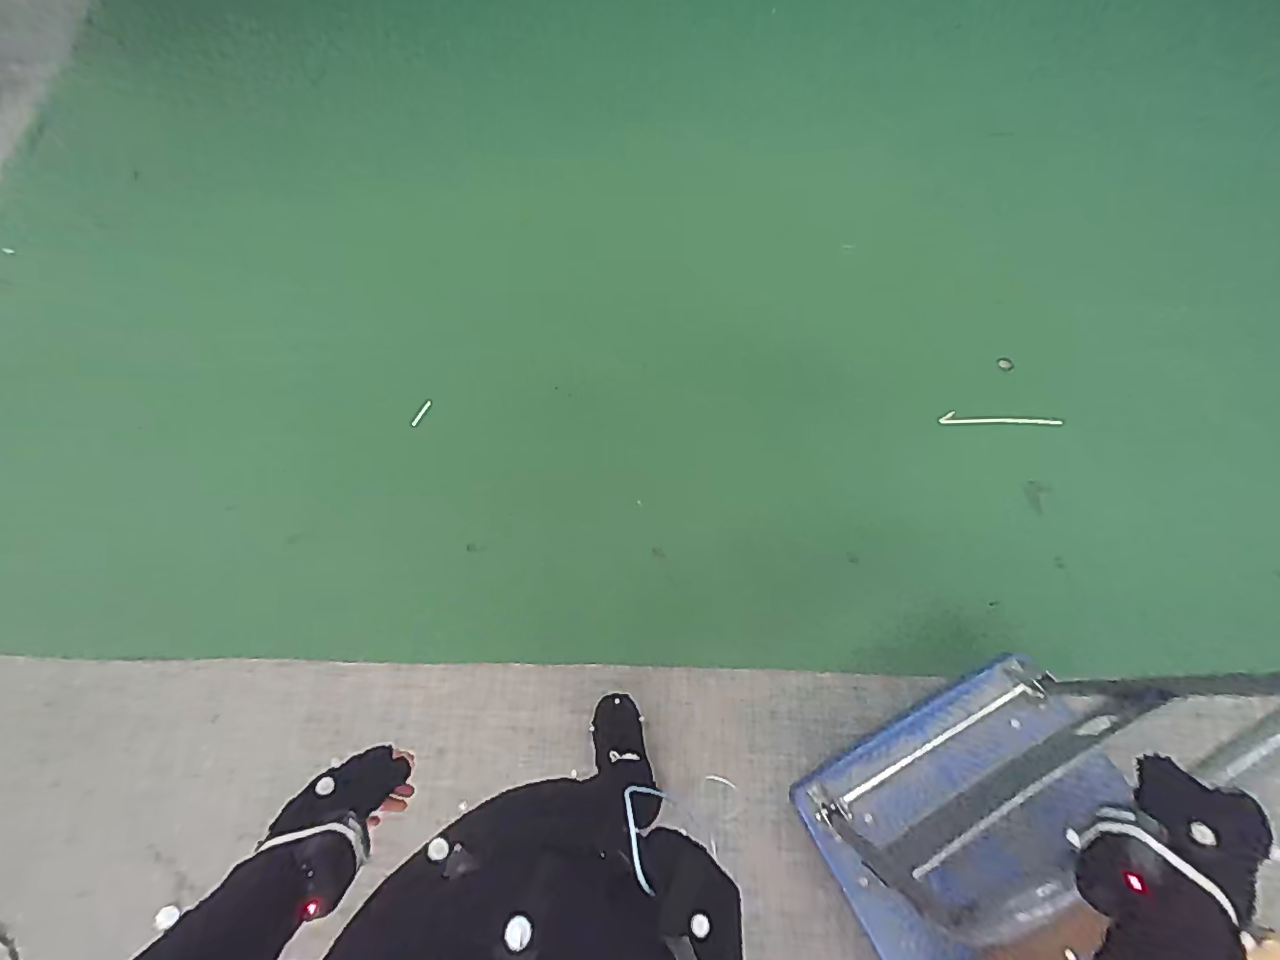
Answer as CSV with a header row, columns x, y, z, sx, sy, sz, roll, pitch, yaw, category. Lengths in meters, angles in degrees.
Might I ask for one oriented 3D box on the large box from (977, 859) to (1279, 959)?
x,y,z,sx,sy,sz,roll,pitch,yaw,category
0.746,0.861,0.780,0.408,0.320,0.320,-31,73,-9,large box
